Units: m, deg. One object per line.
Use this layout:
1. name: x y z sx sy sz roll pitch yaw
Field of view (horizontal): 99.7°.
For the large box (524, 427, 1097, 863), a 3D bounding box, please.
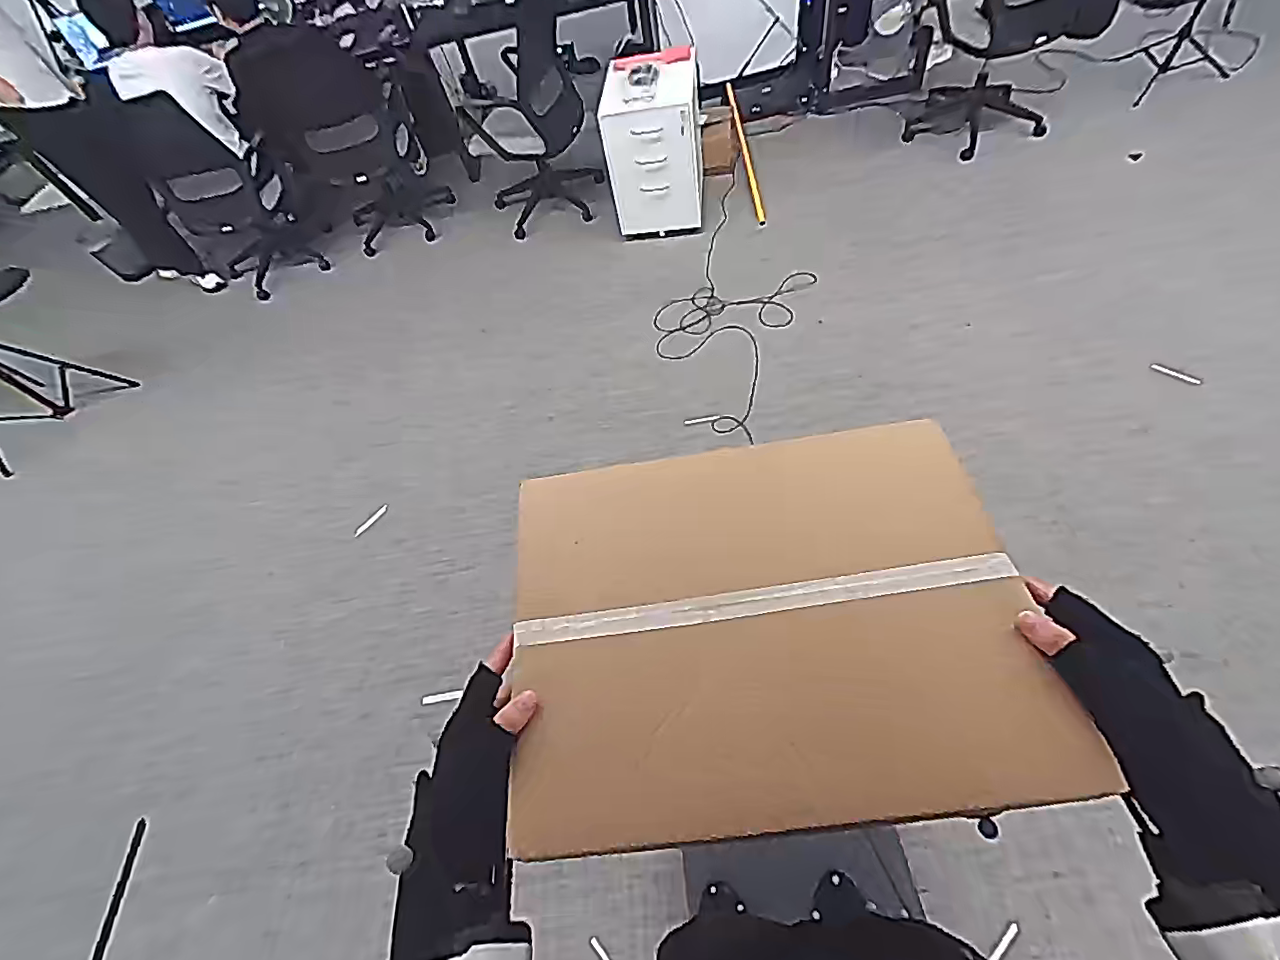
1. large box: 0.119 0.187 0.575 0.408 0.320 0.320 -10 55 4
